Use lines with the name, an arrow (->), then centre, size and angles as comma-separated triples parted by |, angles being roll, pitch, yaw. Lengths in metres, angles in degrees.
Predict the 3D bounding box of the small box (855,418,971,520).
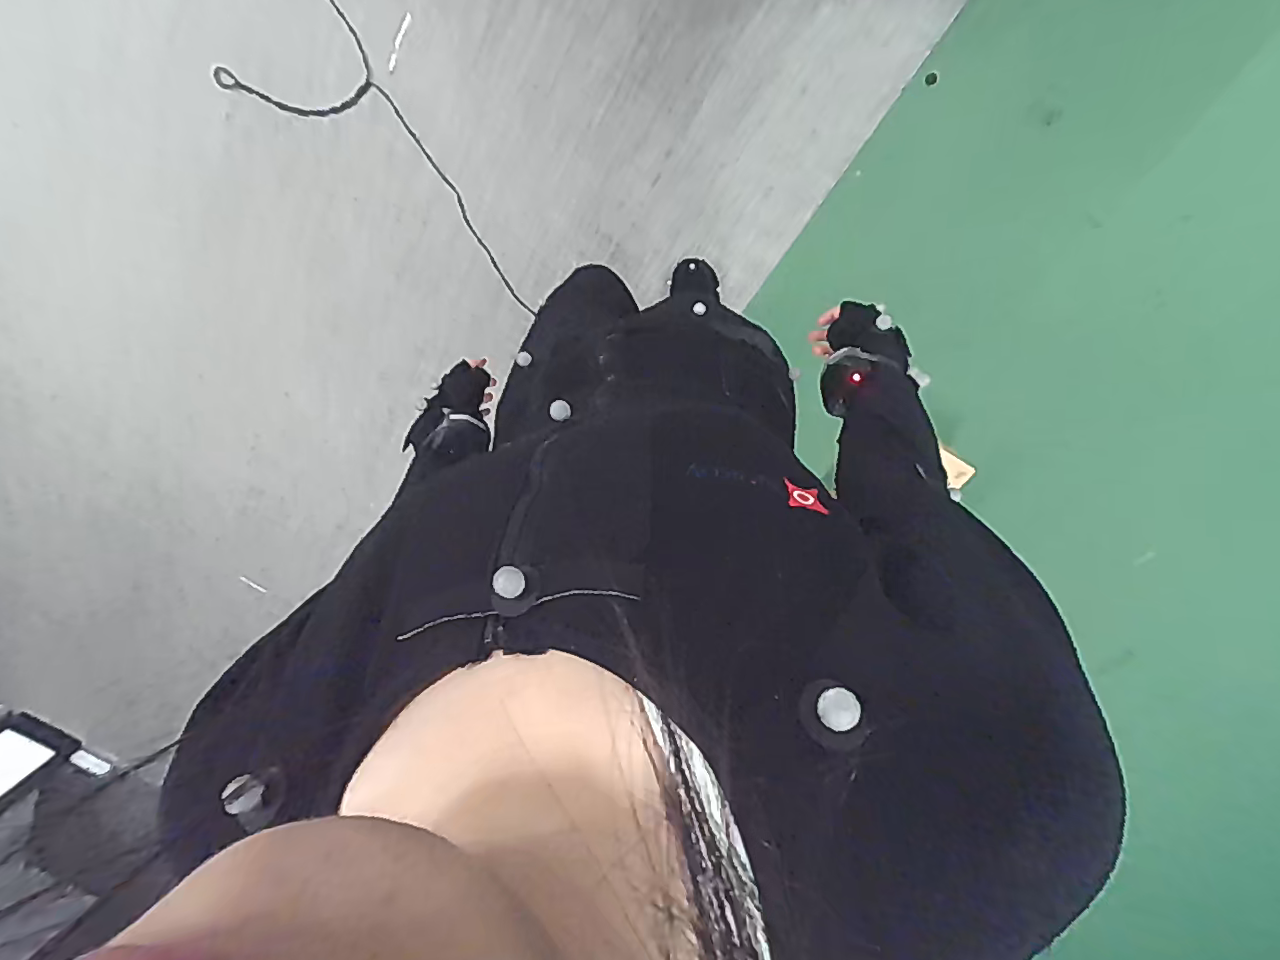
small box -> 0.670, -0.037, 1.353 | 0.179, 0.176, 0.168 | 33, 114, -5
